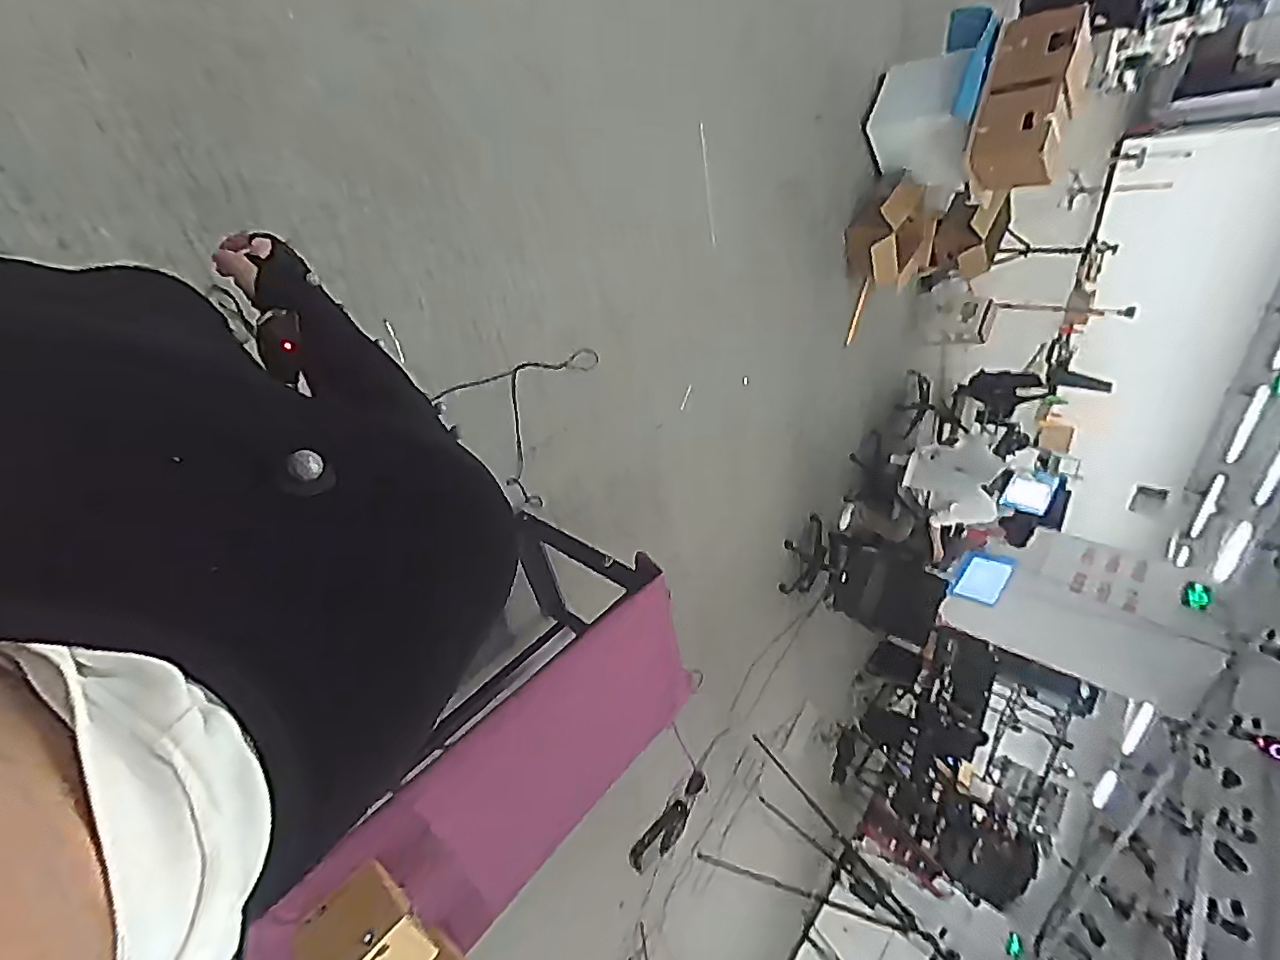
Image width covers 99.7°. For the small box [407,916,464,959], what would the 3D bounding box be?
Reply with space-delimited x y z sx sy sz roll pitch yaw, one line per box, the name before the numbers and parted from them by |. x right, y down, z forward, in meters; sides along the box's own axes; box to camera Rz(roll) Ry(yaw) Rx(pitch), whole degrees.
small box | -0.509 1.188 1.274 0.168 0.176 0.179 -38 131 -33

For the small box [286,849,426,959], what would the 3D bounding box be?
small box | -0.566 0.894 1.083 0.168 0.176 0.179 -35 129 -34
